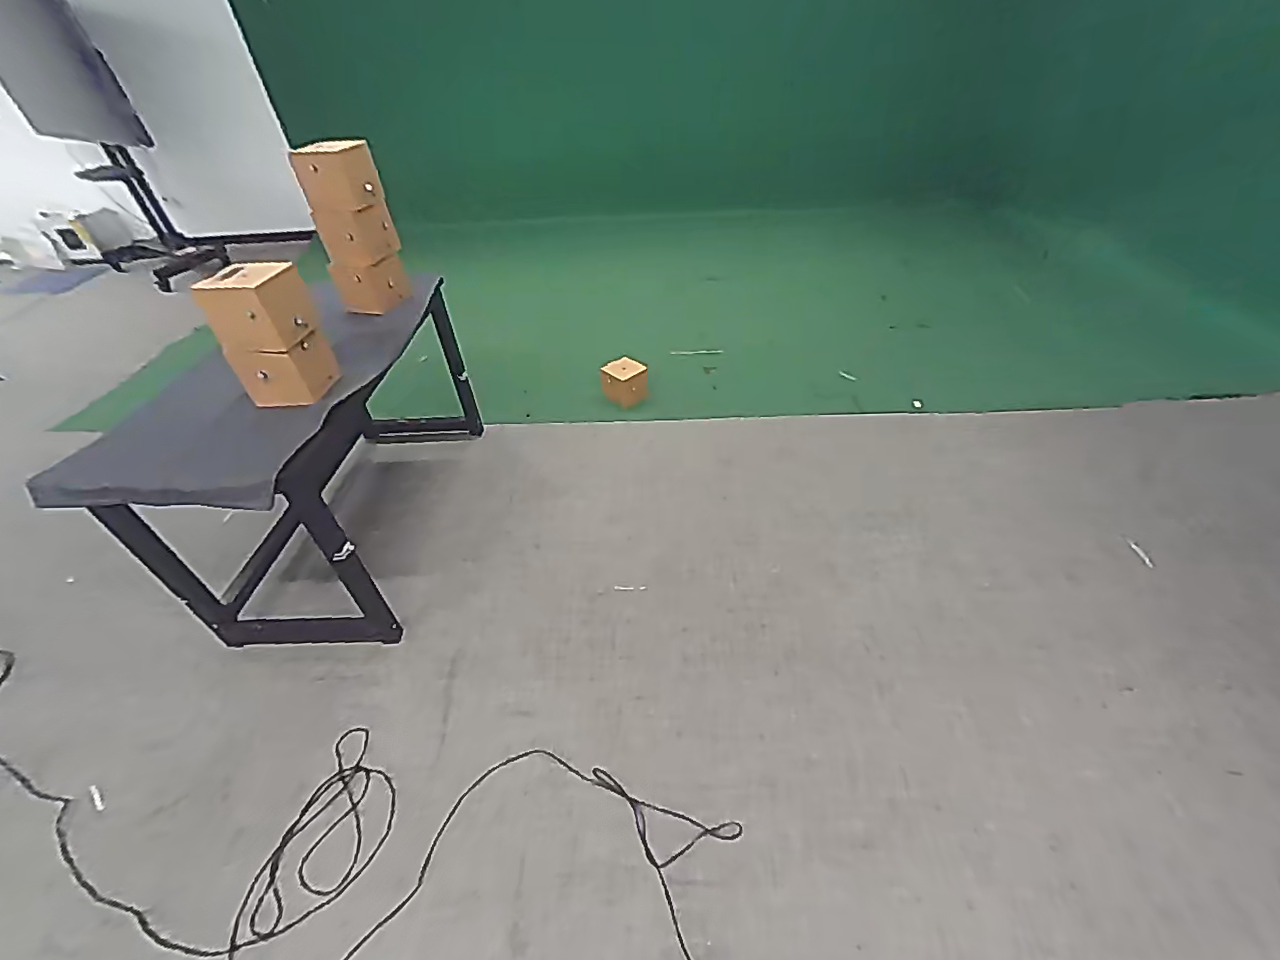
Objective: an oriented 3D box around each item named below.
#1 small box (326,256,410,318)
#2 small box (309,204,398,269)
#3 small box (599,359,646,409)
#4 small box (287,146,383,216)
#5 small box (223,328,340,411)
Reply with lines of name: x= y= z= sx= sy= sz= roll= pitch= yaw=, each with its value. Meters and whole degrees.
small box: x=-0.959 y=-0.691 z=1.923 sx=0.179 sy=0.176 sz=0.168 roll=11 pitch=43 yaw=20
small box: x=-0.961 y=-0.825 z=1.830 sx=0.179 sy=0.176 sz=0.168 roll=7 pitch=41 yaw=16
small box: x=-0.083 y=-0.477 z=2.717 sx=0.168 sy=0.176 sz=0.179 roll=-33 pitch=48 yaw=-29
small box: x=-0.966 y=-0.954 z=1.727 sx=0.179 sy=0.176 sz=0.168 roll=4 pitch=42 yaw=10
small box: x=-0.976 y=-0.302 z=1.490 sx=0.179 sy=0.176 sz=0.168 roll=-3 pitch=41 yaw=4
